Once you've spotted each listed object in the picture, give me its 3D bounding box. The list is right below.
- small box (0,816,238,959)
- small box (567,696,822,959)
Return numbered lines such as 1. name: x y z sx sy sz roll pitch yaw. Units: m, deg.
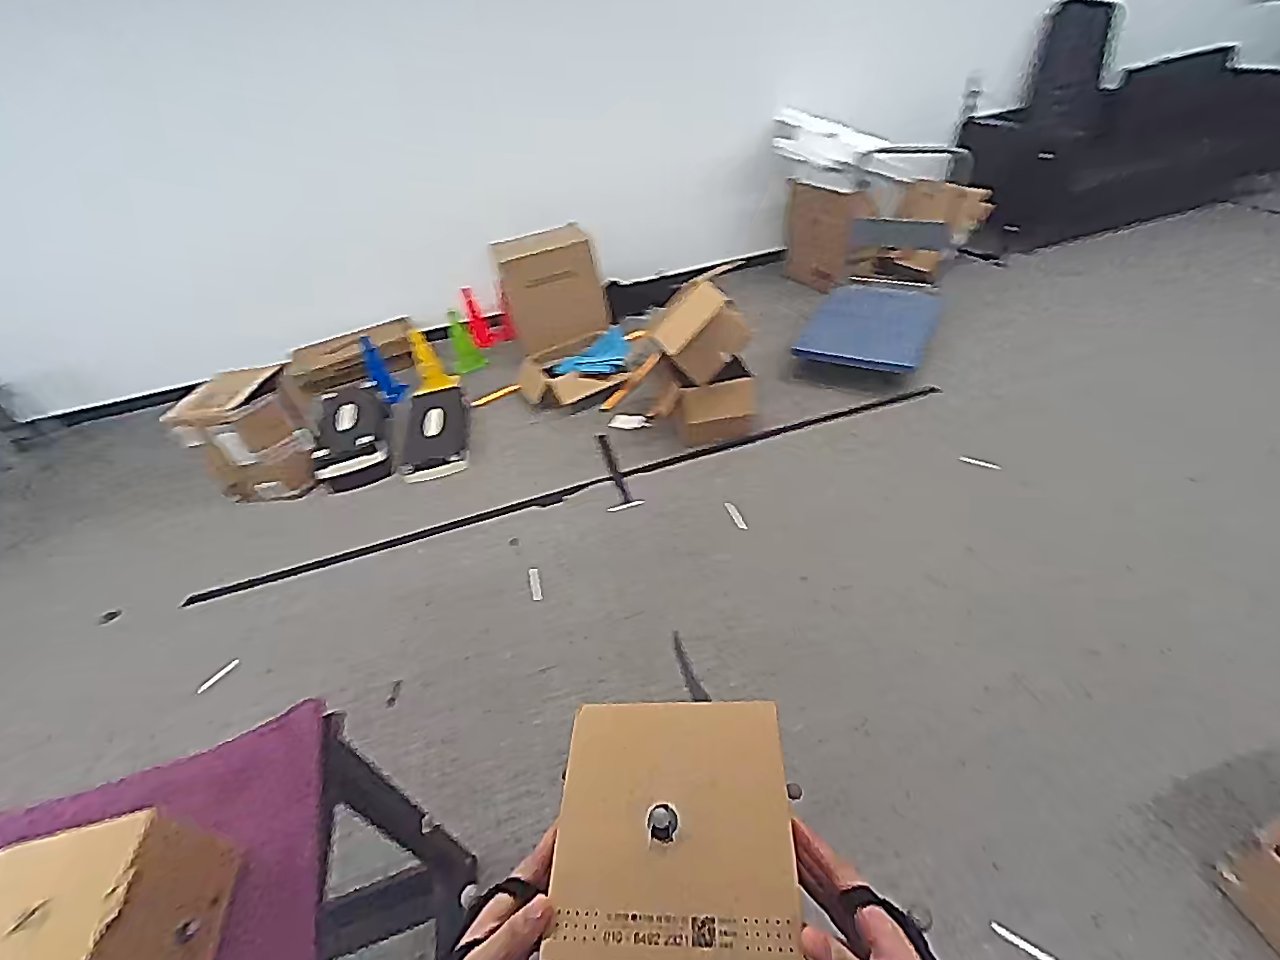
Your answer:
1. small box: -0.605 0.511 0.596 0.179 0.176 0.168 -15 41 -5
2. small box: 0.048 0.294 0.436 0.168 0.179 0.176 -4 43 11
